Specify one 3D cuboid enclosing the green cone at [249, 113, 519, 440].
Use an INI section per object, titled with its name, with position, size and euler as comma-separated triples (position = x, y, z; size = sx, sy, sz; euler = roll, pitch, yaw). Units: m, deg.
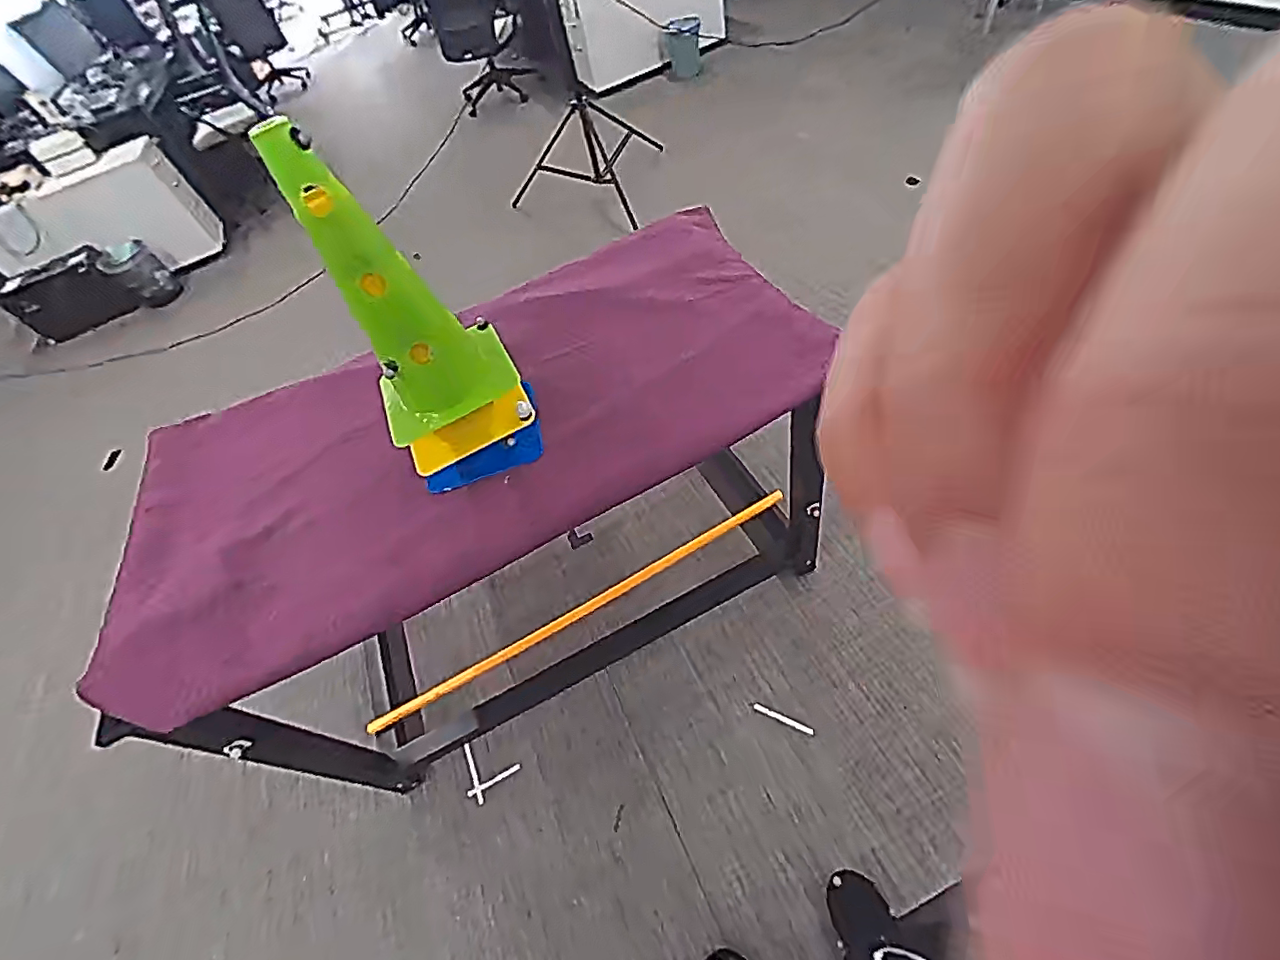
[green cone]
position = -0.338, -0.258, 0.686
size = 0.200, 0.368, 0.202
euler = -30, 51, -6
